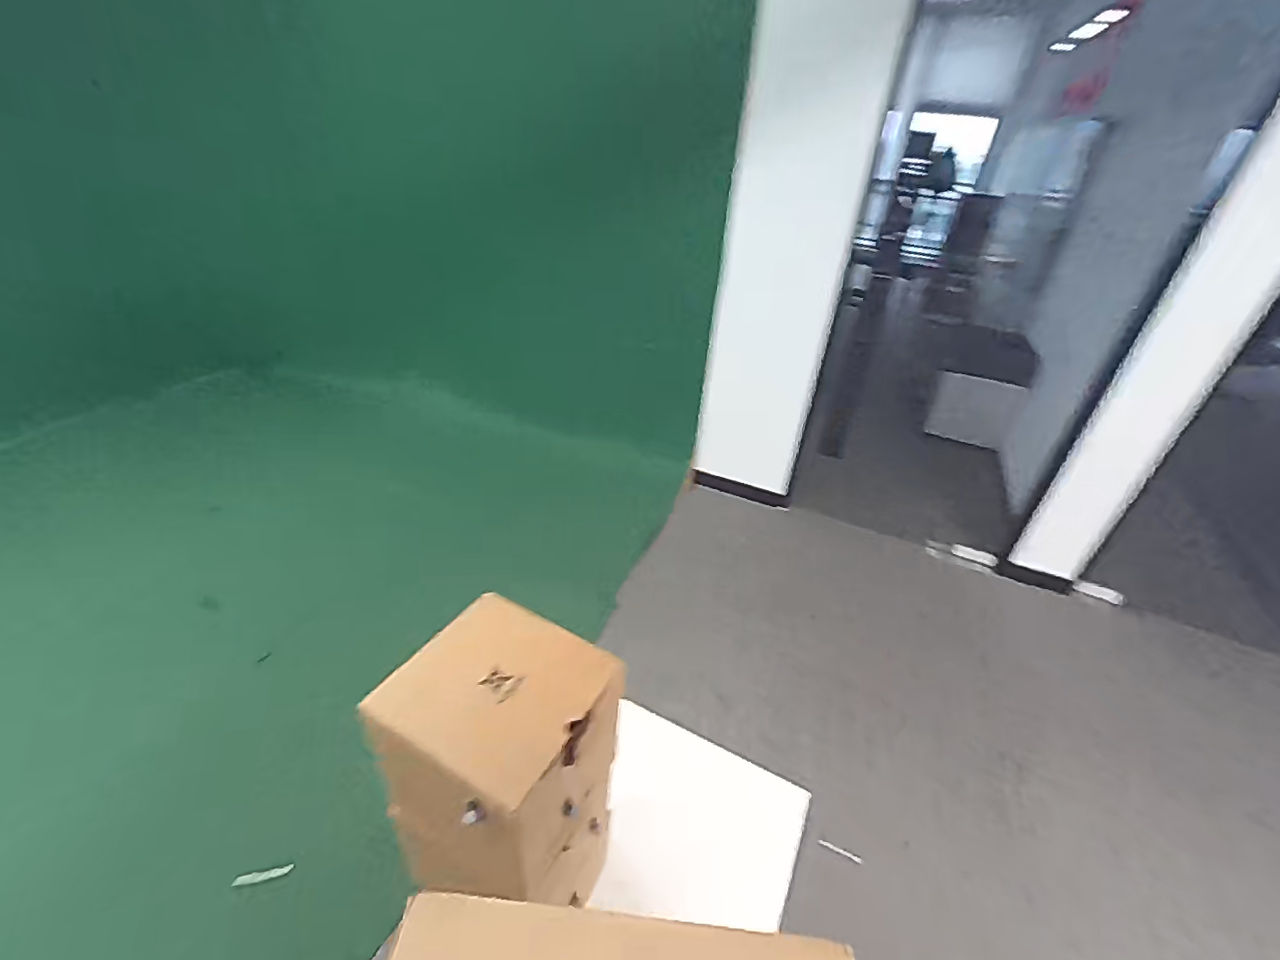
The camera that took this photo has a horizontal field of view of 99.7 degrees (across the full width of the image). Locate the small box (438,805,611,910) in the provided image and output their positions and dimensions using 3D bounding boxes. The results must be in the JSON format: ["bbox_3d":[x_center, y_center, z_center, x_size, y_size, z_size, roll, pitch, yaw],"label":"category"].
[{"bbox_3d":[-0.153,0.518,0.728,0.168,0.176,0.179,21,37,20],"label":"small box"}]

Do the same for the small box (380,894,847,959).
[{"bbox_3d":[-0.015,0.282,0.191,0.179,0.176,0.168,2,36,5],"label":"small box"}]

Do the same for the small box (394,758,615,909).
[{"bbox_3d":[-0.146,0.391,0.627,0.179,0.176,0.168,19,35,20],"label":"small box"}]

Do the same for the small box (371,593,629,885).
[{"bbox_3d":[-0.132,0.252,0.542,0.179,0.176,0.168,21,36,21],"label":"small box"}]
